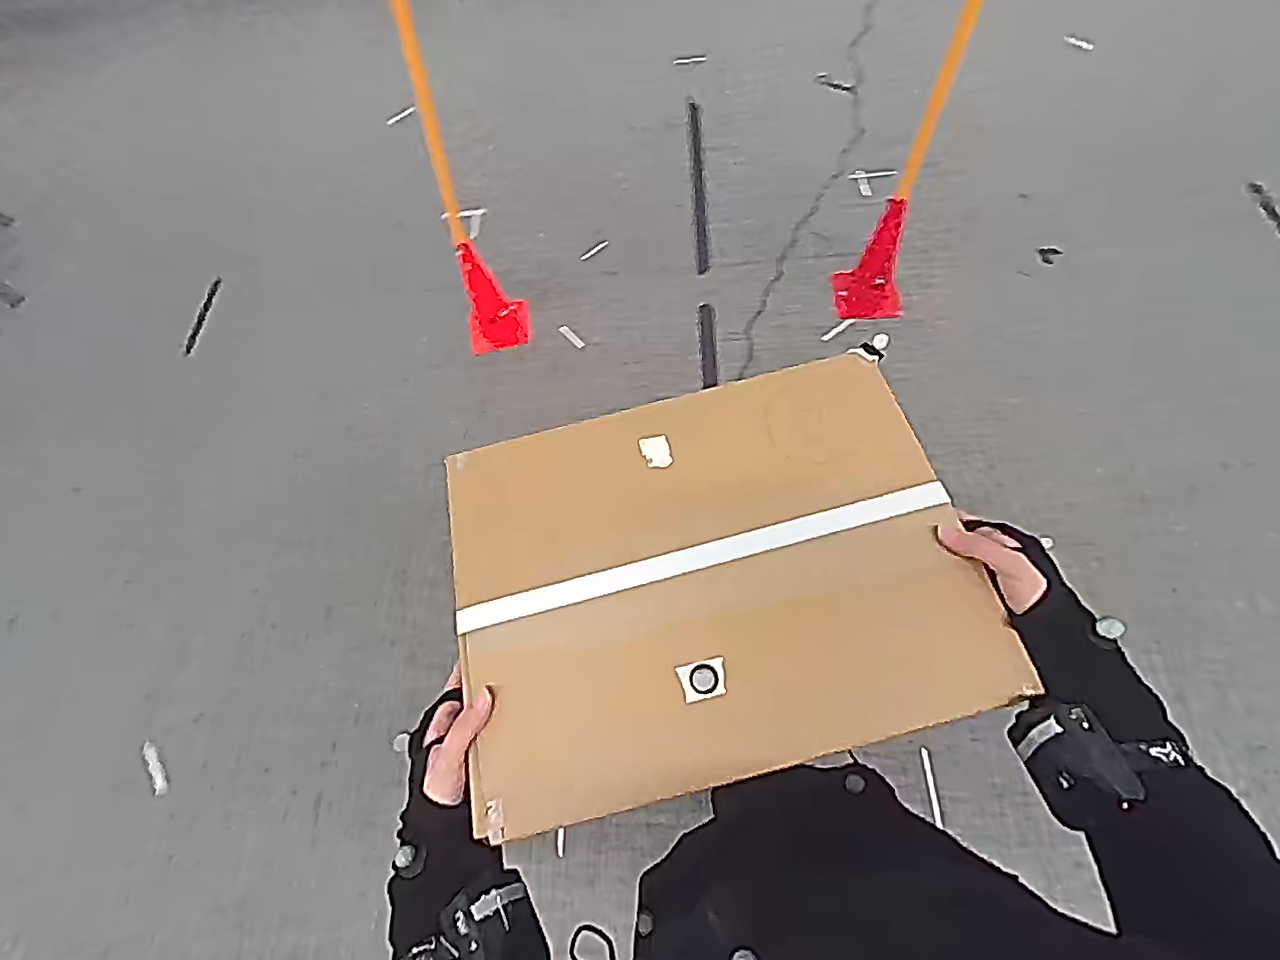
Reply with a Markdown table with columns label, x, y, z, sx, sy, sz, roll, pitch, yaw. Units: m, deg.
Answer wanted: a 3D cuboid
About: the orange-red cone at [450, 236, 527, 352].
| label | x | y | z | sx | sy | sz | roll | pitch | yaw |
| --- | --- | --- | --- | --- | --- | --- | --- | --- | --- |
| orange-red cone | -0.498 | -0.593 | 1.669 | 0.199 | 0.360 | 0.198 | -11 | 63 | 2 |
